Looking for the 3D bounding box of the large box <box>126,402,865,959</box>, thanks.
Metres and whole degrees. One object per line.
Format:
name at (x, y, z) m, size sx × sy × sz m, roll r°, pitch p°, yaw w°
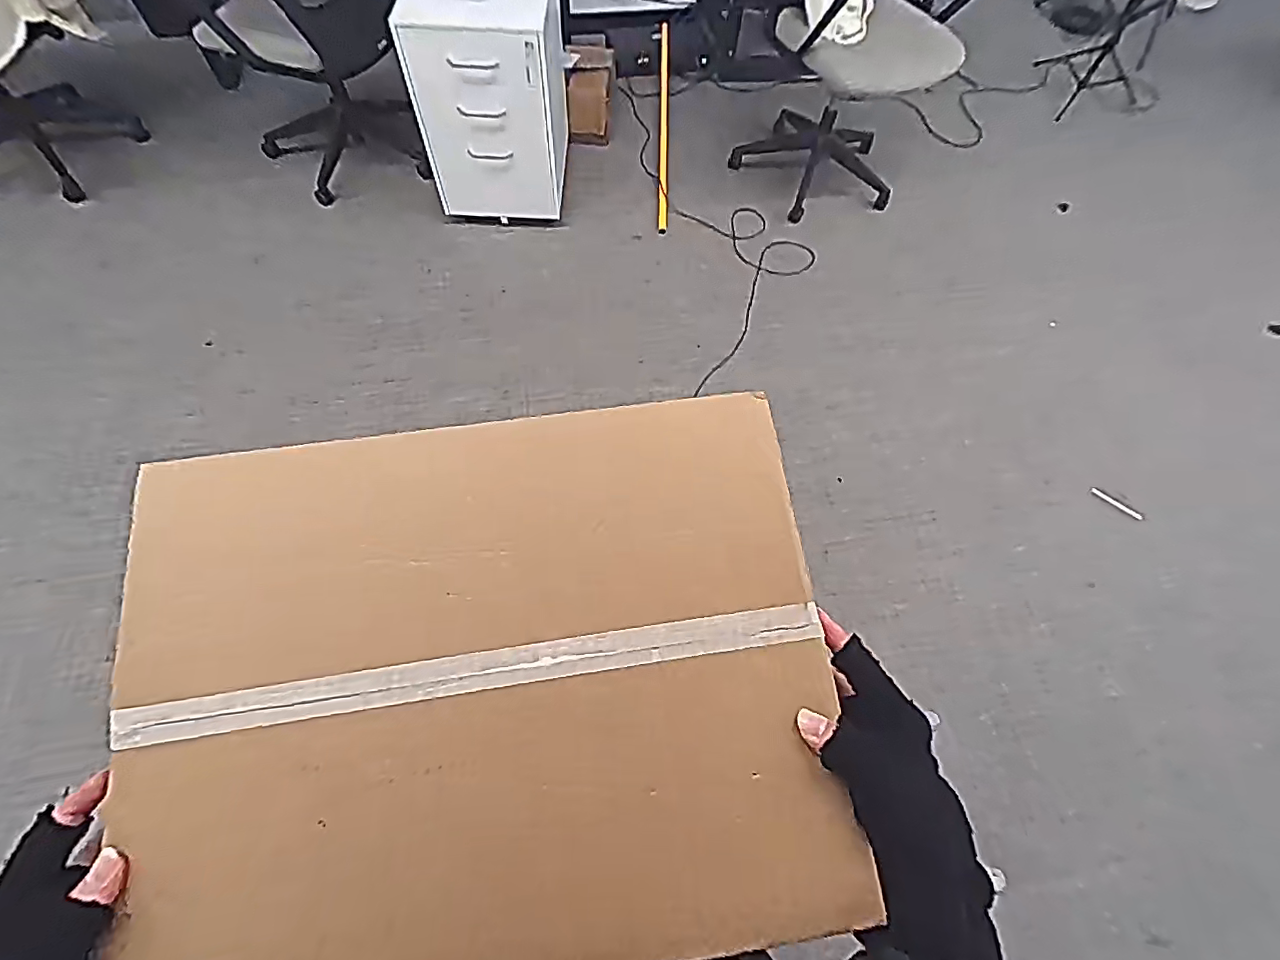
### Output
large box at (-0.095, 0.158, 0.471) m, size 0.408 × 0.320 × 0.320 m, roll -7°, pitch 75°, yaw -4°
